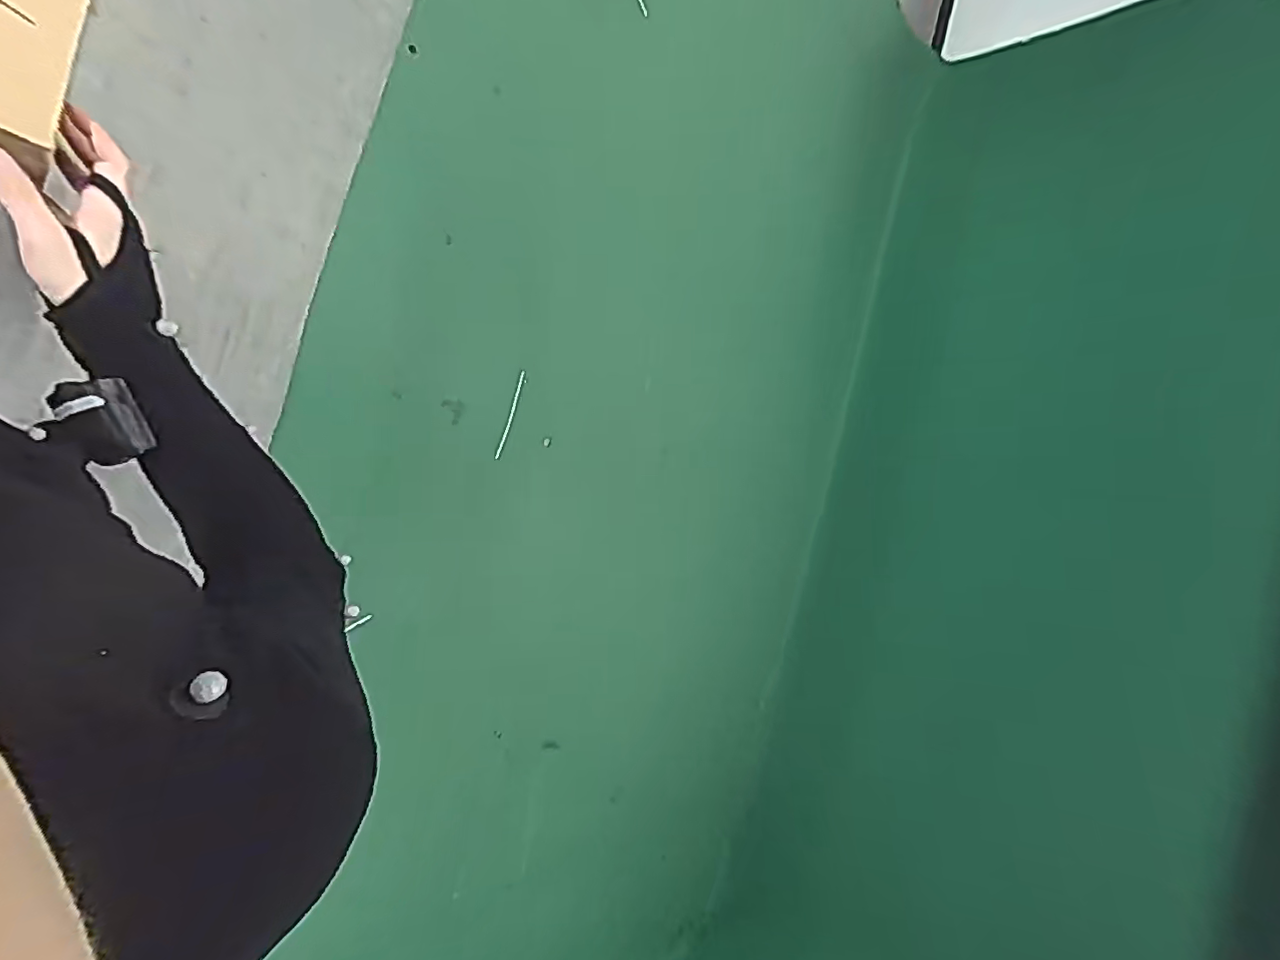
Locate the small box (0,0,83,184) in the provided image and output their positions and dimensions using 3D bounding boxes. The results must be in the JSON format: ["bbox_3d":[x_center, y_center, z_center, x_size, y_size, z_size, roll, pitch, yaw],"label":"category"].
[{"bbox_3d":[-0.515,-0.335,0.361,0.179,0.176,0.168,16,81,-51],"label":"small box"}]
